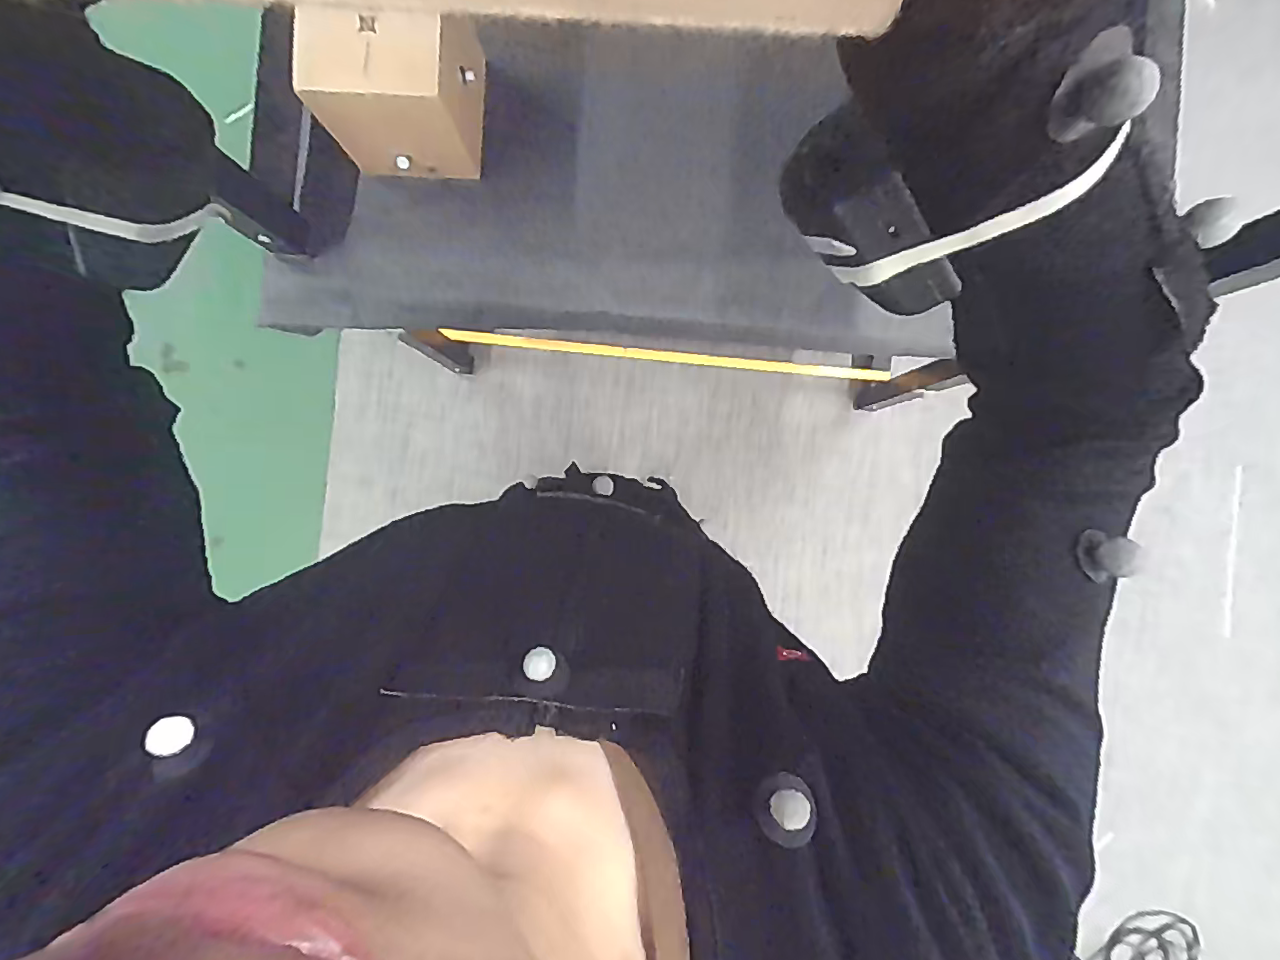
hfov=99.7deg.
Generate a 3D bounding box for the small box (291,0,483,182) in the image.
[{"bbox_3d":[-0.305,-0.515,0.686,0.168,0.176,0.179,2,90,0],"label":"small box"}]
